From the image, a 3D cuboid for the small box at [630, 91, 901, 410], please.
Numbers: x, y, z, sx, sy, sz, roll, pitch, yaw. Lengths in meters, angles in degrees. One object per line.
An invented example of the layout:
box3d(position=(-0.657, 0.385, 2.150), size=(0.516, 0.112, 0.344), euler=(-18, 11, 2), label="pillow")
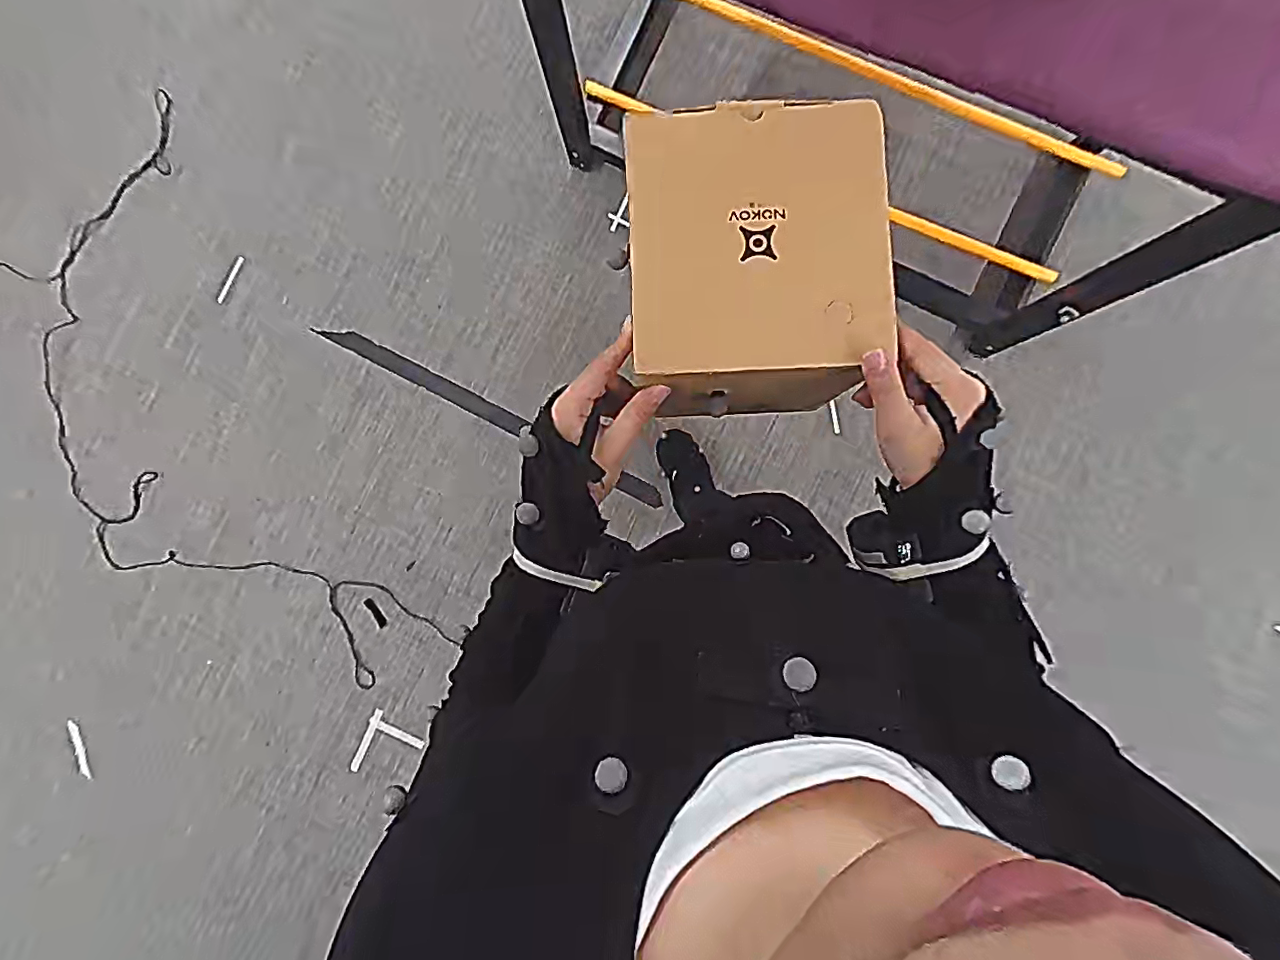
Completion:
box3d(position=(0.082, -0.153, 0.422), size=(0.168, 0.176, 0.179), euler=(-3, 86, 2), label="small box")
